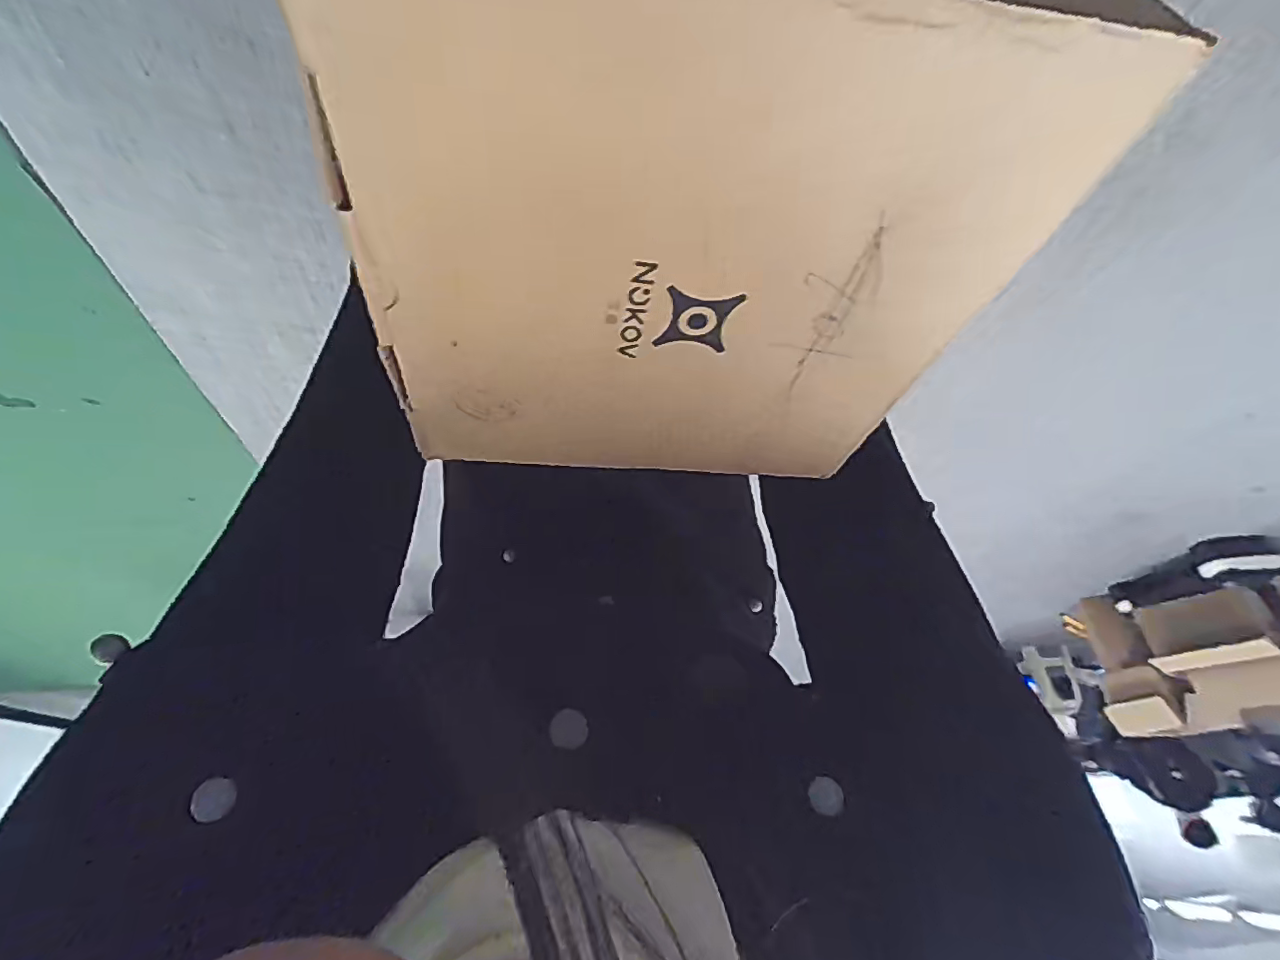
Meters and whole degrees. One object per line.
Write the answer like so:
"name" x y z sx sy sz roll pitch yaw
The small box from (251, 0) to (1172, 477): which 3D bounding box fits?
"small box" 0.004 -0.117 0.199 0.179 0.176 0.168 2 150 -9
